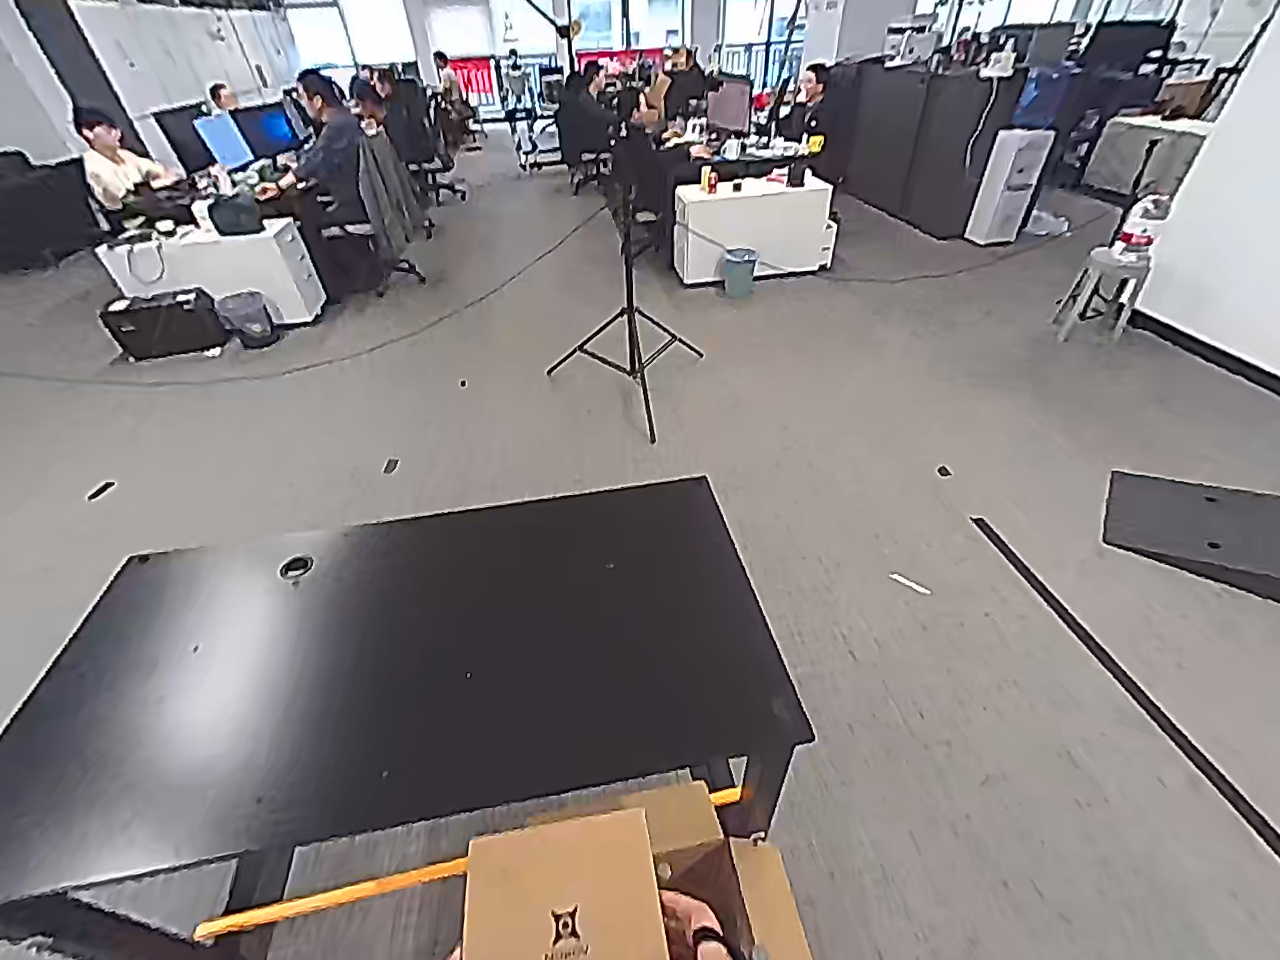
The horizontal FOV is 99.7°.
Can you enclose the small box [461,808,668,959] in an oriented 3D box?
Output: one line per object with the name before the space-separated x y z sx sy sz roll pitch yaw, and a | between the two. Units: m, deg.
small box | -0.064 0.435 0.490 0.168 0.176 0.179 -6 40 -8
